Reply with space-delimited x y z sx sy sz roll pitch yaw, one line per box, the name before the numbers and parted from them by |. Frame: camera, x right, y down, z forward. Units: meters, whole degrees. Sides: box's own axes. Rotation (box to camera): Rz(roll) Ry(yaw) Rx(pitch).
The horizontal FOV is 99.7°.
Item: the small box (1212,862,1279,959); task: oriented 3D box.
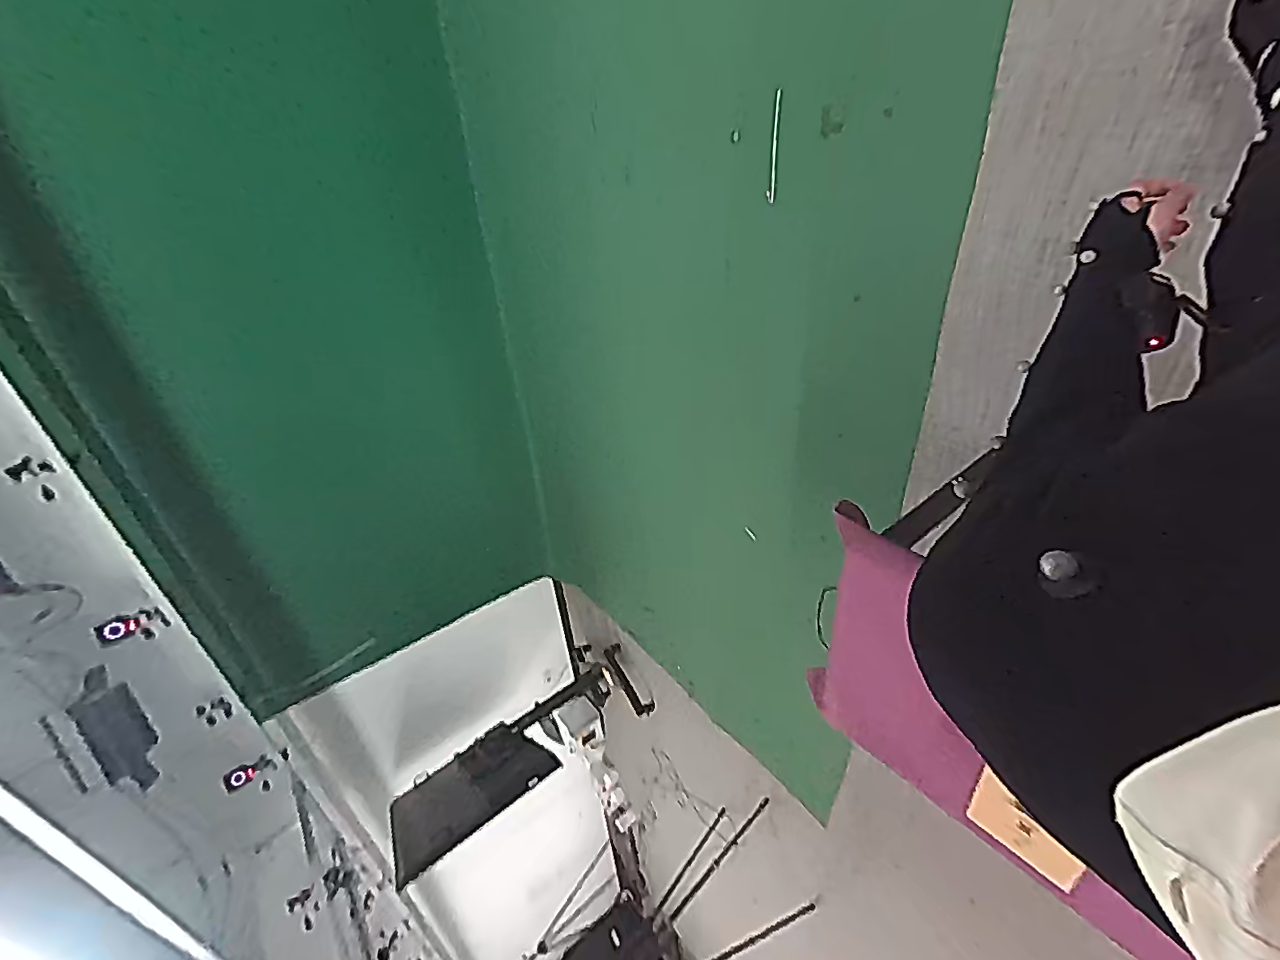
small box | 0.913 0.671 0.720 0.168 0.176 0.179 29 134 45
